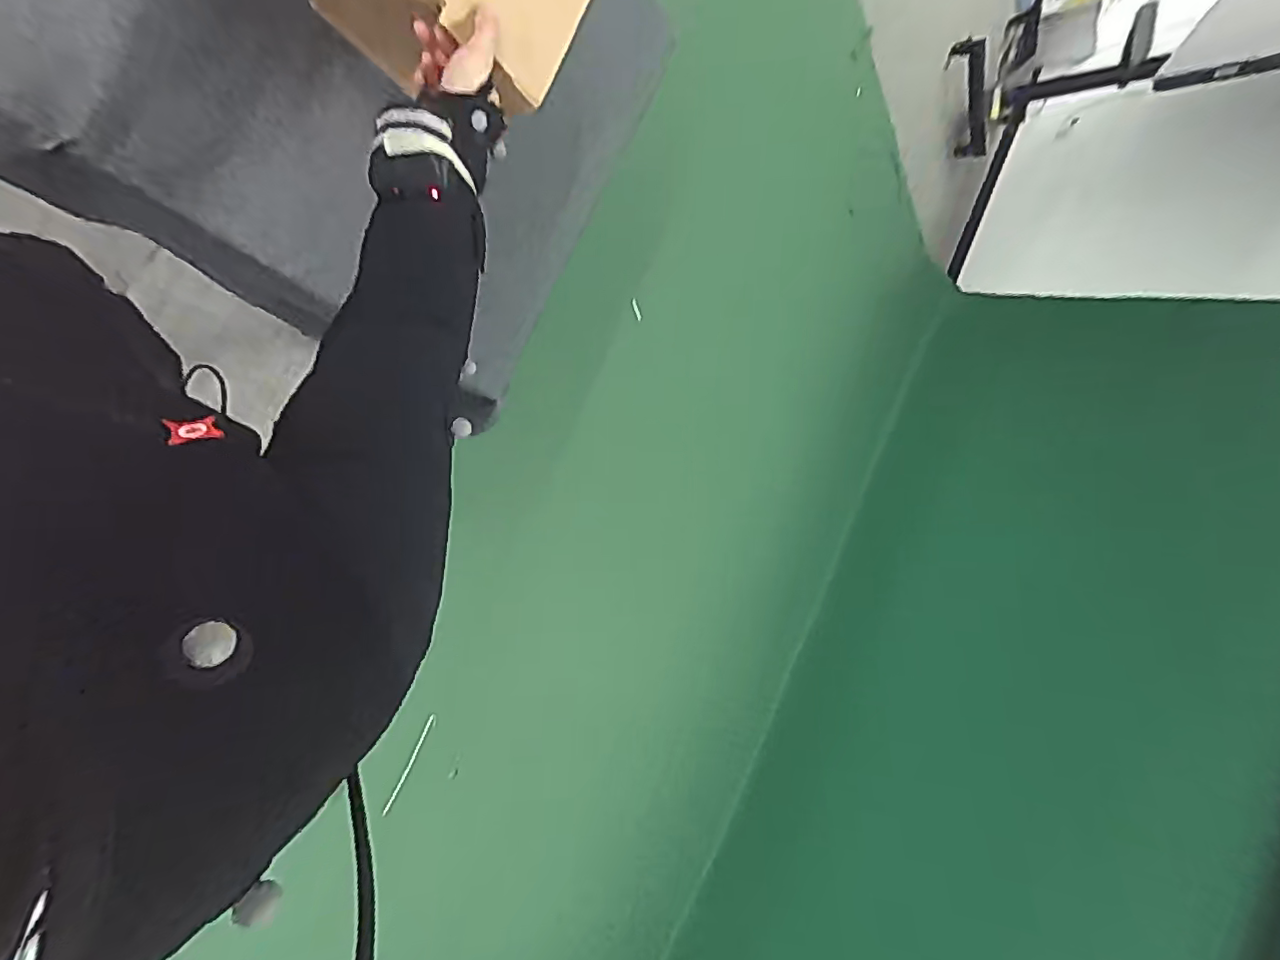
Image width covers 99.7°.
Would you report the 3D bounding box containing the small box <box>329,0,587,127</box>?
[{"bbox_3d":[-0.169,-0.475,0.508,0.168,0.176,0.179,26,84,-50],"label":"small box"}]
